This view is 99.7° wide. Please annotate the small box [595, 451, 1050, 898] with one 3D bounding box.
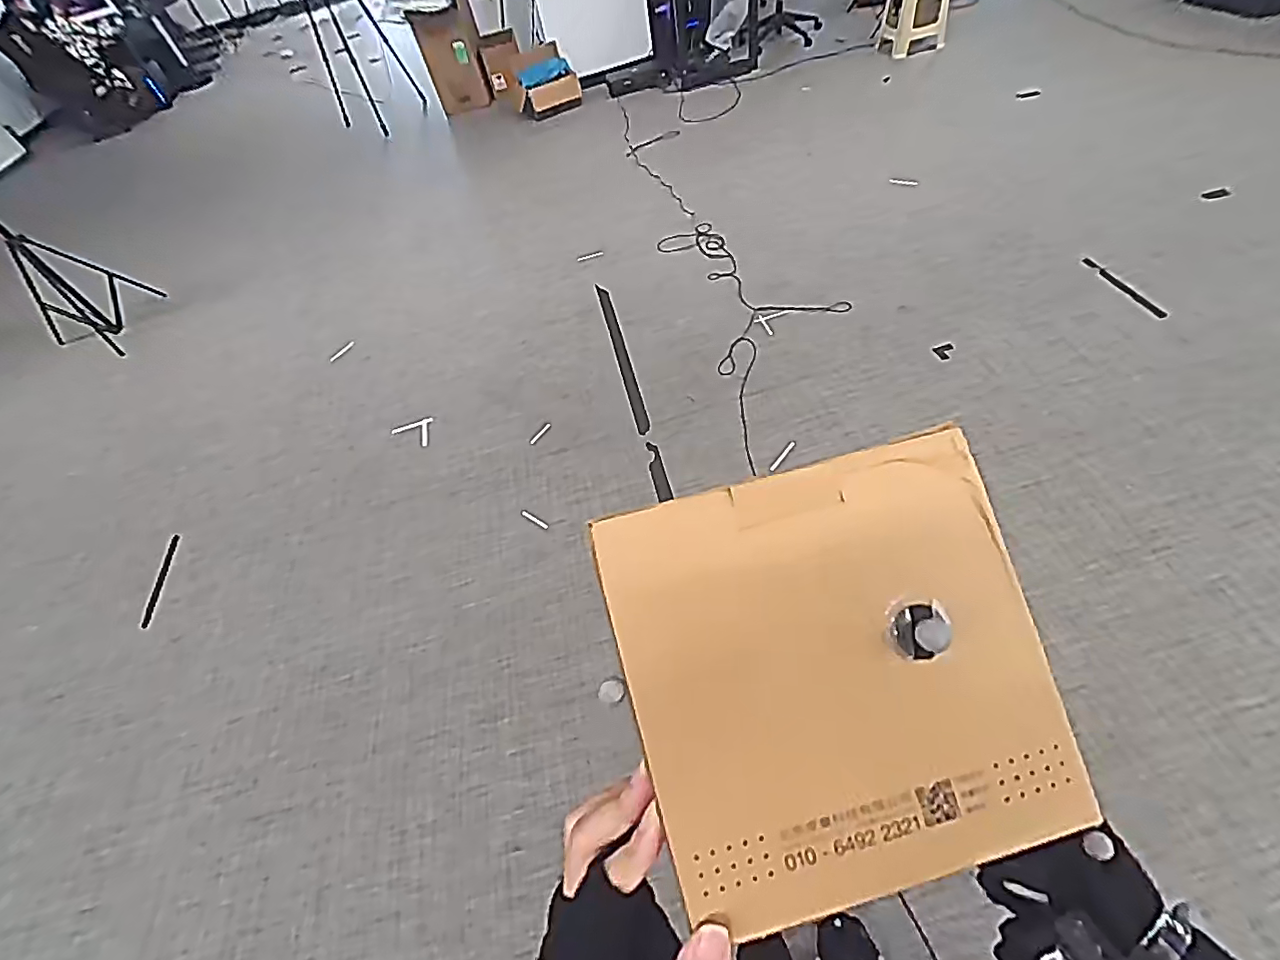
[{"bbox_3d":[0.079,0.098,0.311,0.168,0.179,0.176,-15,82,-2],"label":"small box"}]
